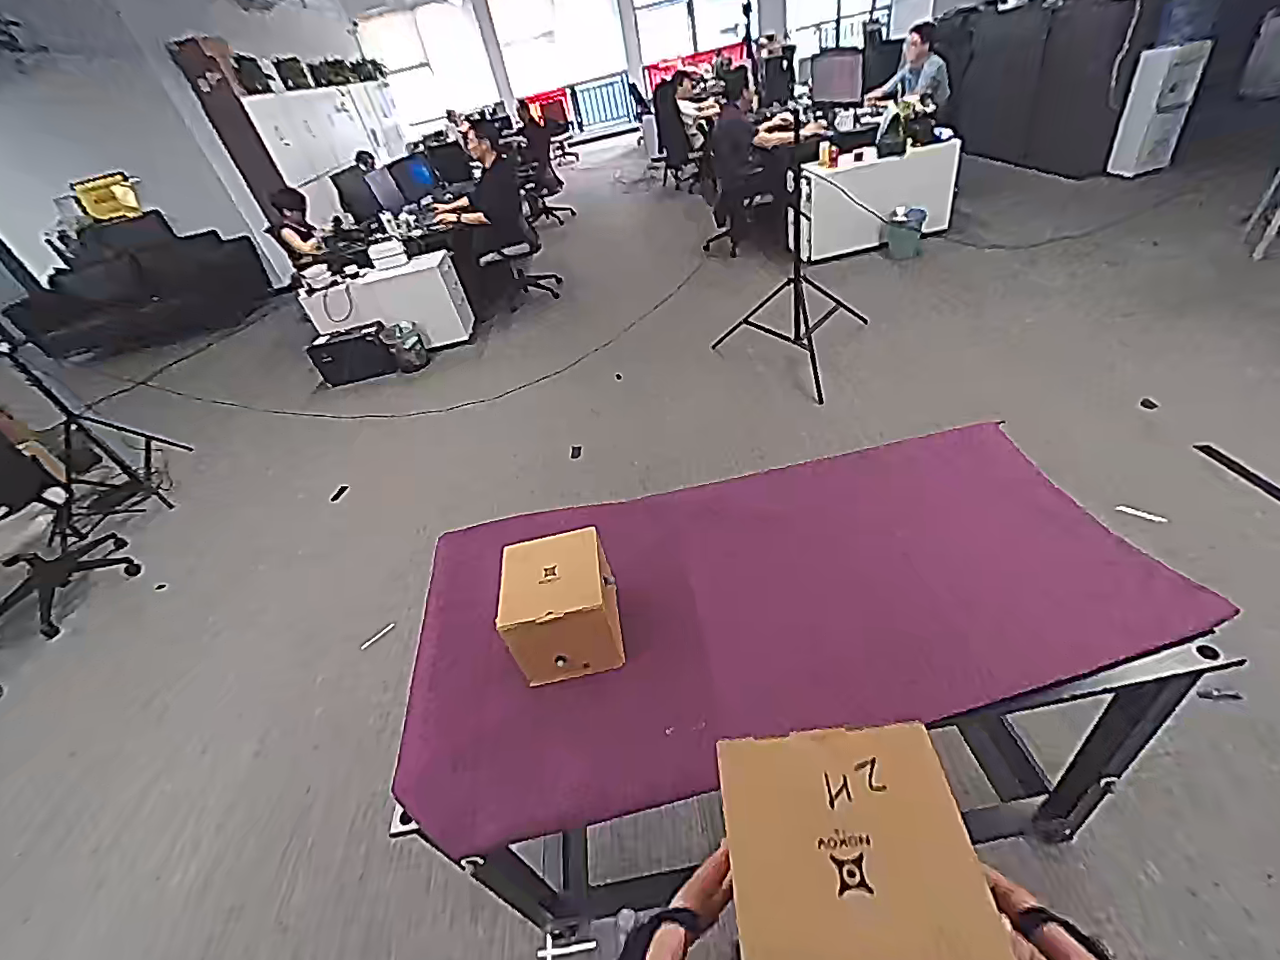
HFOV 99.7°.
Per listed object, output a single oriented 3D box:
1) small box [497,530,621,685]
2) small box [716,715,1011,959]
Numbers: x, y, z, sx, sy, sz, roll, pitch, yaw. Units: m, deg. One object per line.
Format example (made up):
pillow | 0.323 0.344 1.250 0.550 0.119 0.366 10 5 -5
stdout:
small box | -0.133 0.216 0.923 0.168 0.176 0.179 -13 39 0
small box | 0.157 0.313 0.428 0.168 0.176 0.179 -8 42 7
